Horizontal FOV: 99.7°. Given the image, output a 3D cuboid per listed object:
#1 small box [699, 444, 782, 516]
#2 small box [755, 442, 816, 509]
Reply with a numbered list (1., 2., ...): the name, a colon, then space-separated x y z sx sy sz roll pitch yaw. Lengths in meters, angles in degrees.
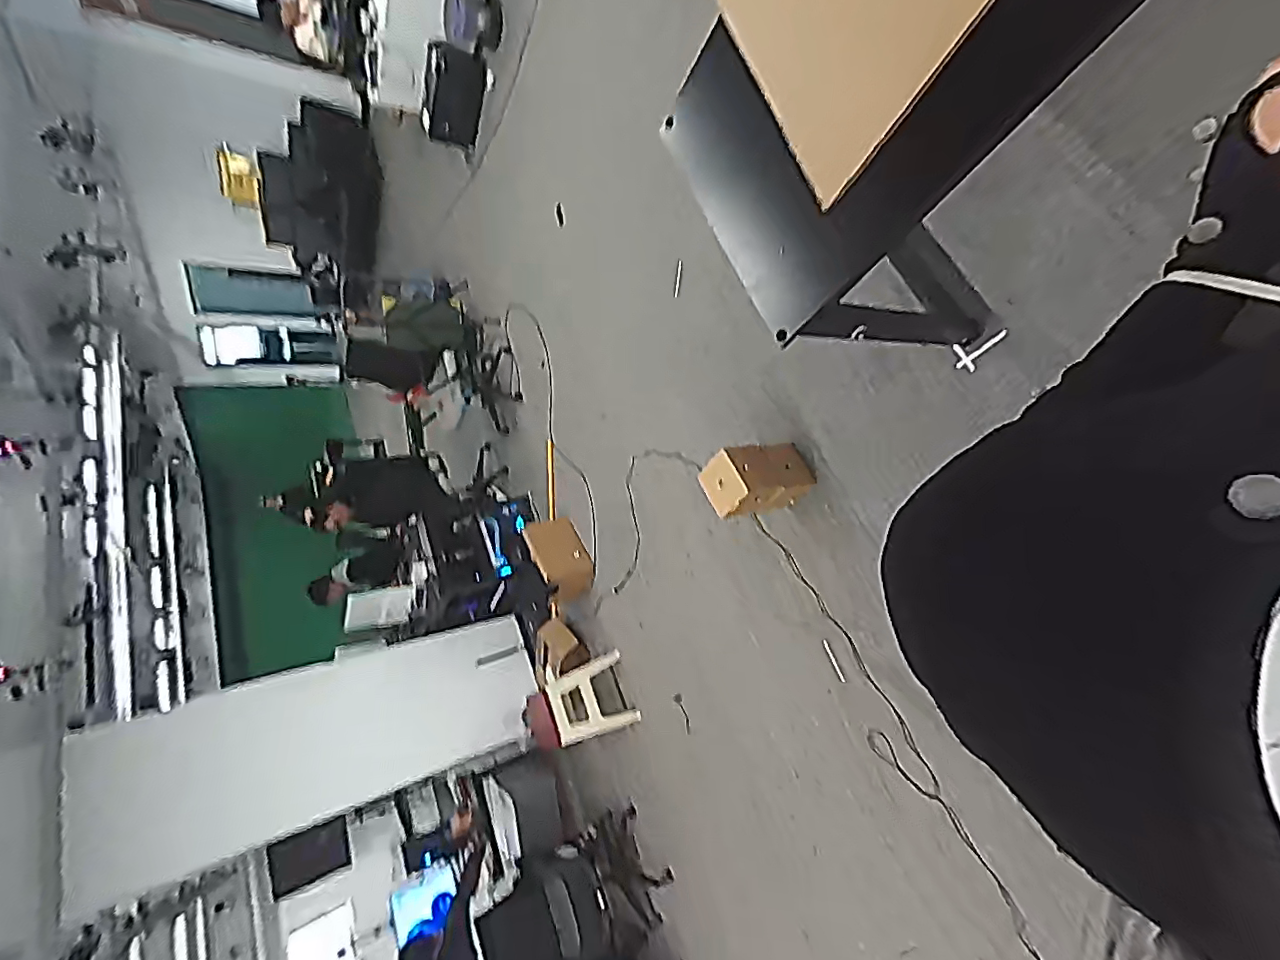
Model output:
1. small box: 0.333 -0.007 1.779 0.168 0.176 0.179 -54 53 44
2. small box: 0.468 -0.020 1.868 0.168 0.176 0.179 -51 57 47
